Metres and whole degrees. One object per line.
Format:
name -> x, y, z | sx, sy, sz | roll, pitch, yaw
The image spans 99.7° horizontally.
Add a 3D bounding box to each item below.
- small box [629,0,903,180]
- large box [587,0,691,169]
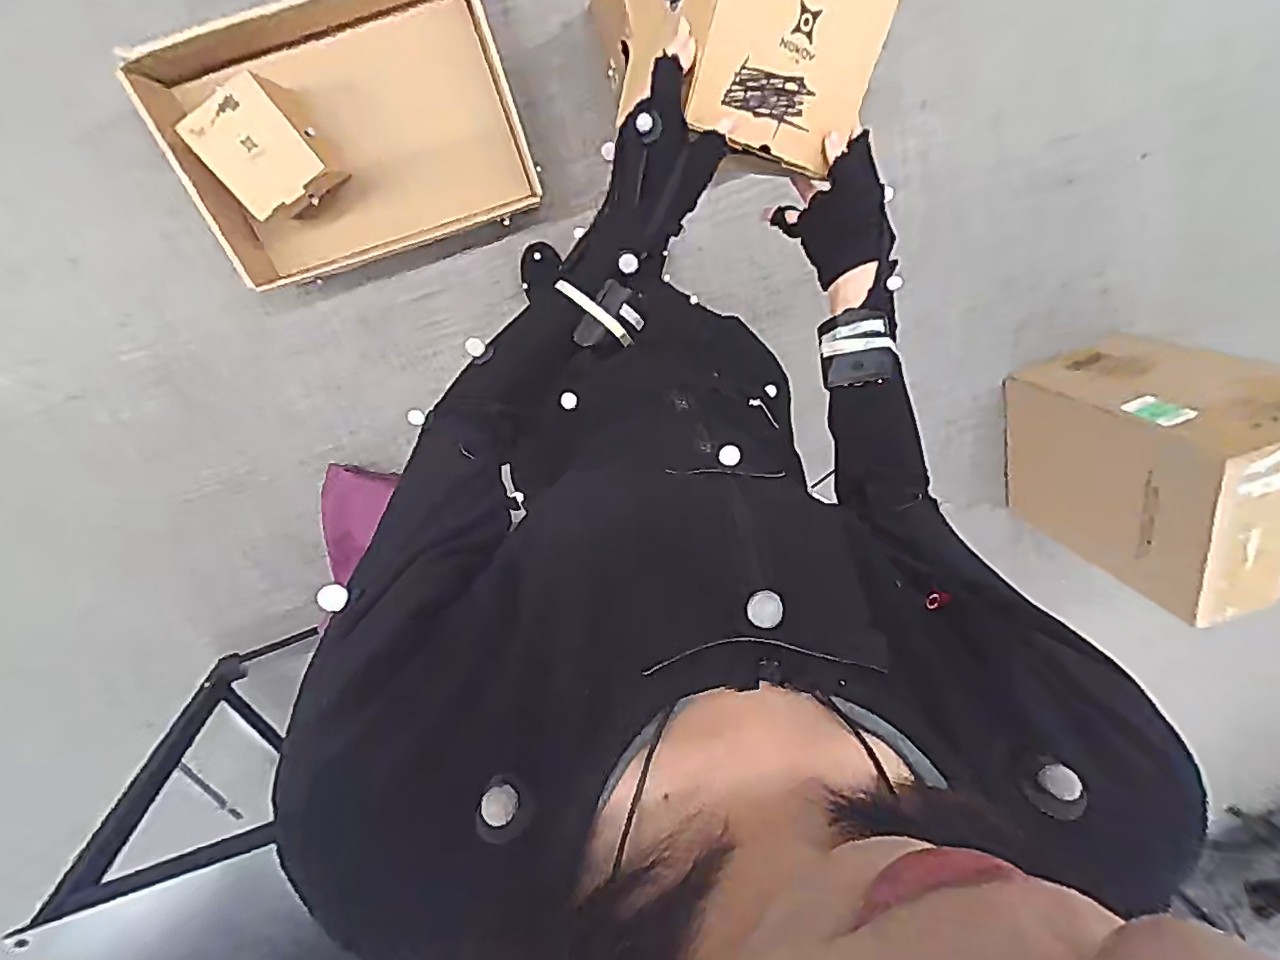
small box -> 0.104, -0.402, 0.503 | 0.168, 0.176, 0.179 | 3, 117, -27
large box -> 0.148, -0.855, 1.056 | 0.408, 0.320, 0.320 | -22, 119, -1
